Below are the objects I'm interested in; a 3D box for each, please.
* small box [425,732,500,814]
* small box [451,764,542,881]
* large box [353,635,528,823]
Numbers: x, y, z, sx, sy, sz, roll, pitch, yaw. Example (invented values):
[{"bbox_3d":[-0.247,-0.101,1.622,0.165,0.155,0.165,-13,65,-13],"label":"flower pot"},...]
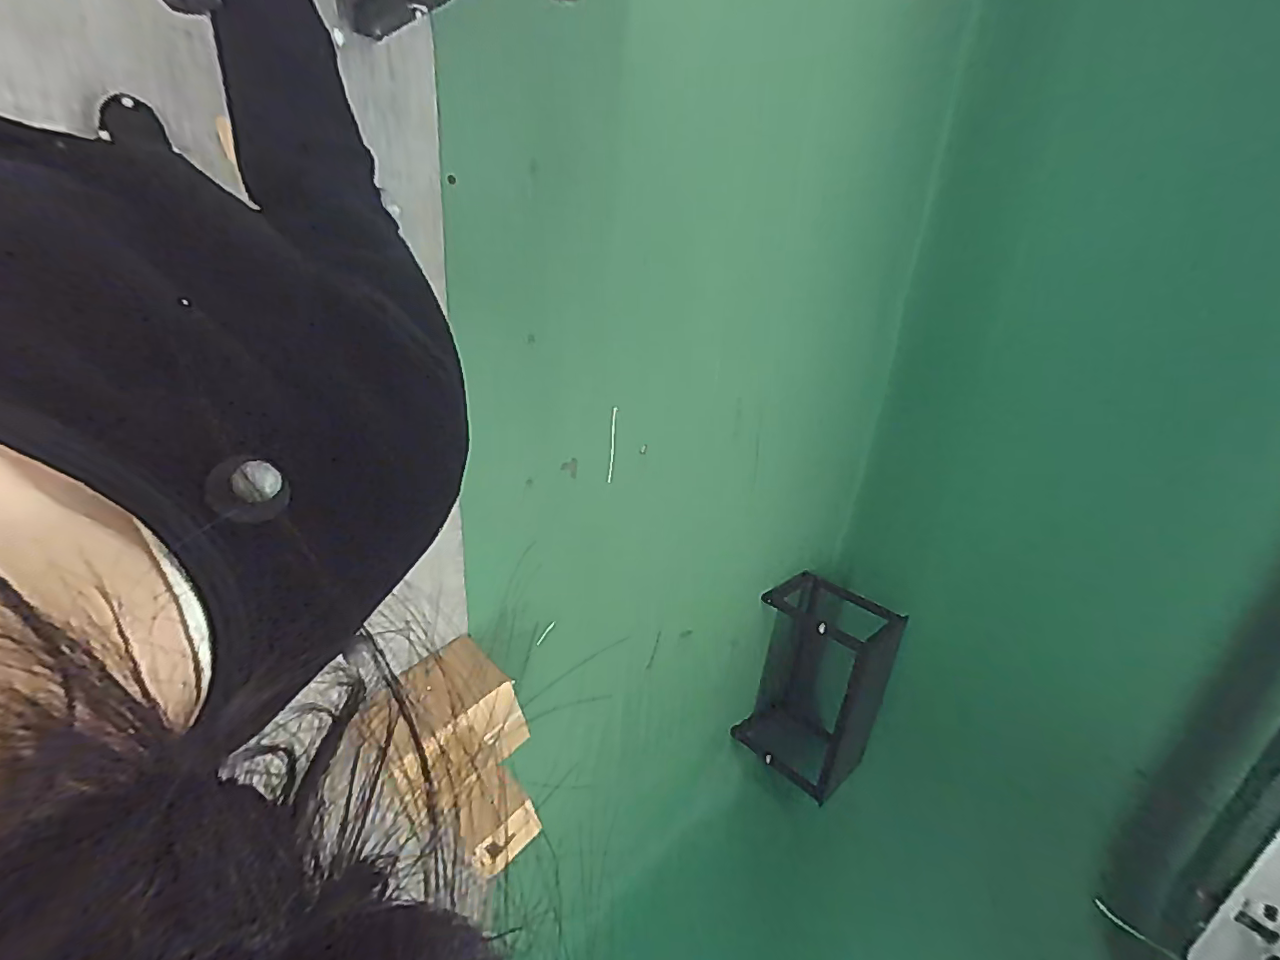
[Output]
[{"bbox_3d":[-0.514,0.888,1.608,0.168,0.176,0.179,-30,128,-34],"label":"small box"},{"bbox_3d":[-0.402,0.942,1.500,0.179,0.176,0.168,-32,128,-33],"label":"small box"},{"bbox_3d":[-0.652,0.806,1.798,0.408,0.320,0.320,-32,130,-35],"label":"large box"}]
